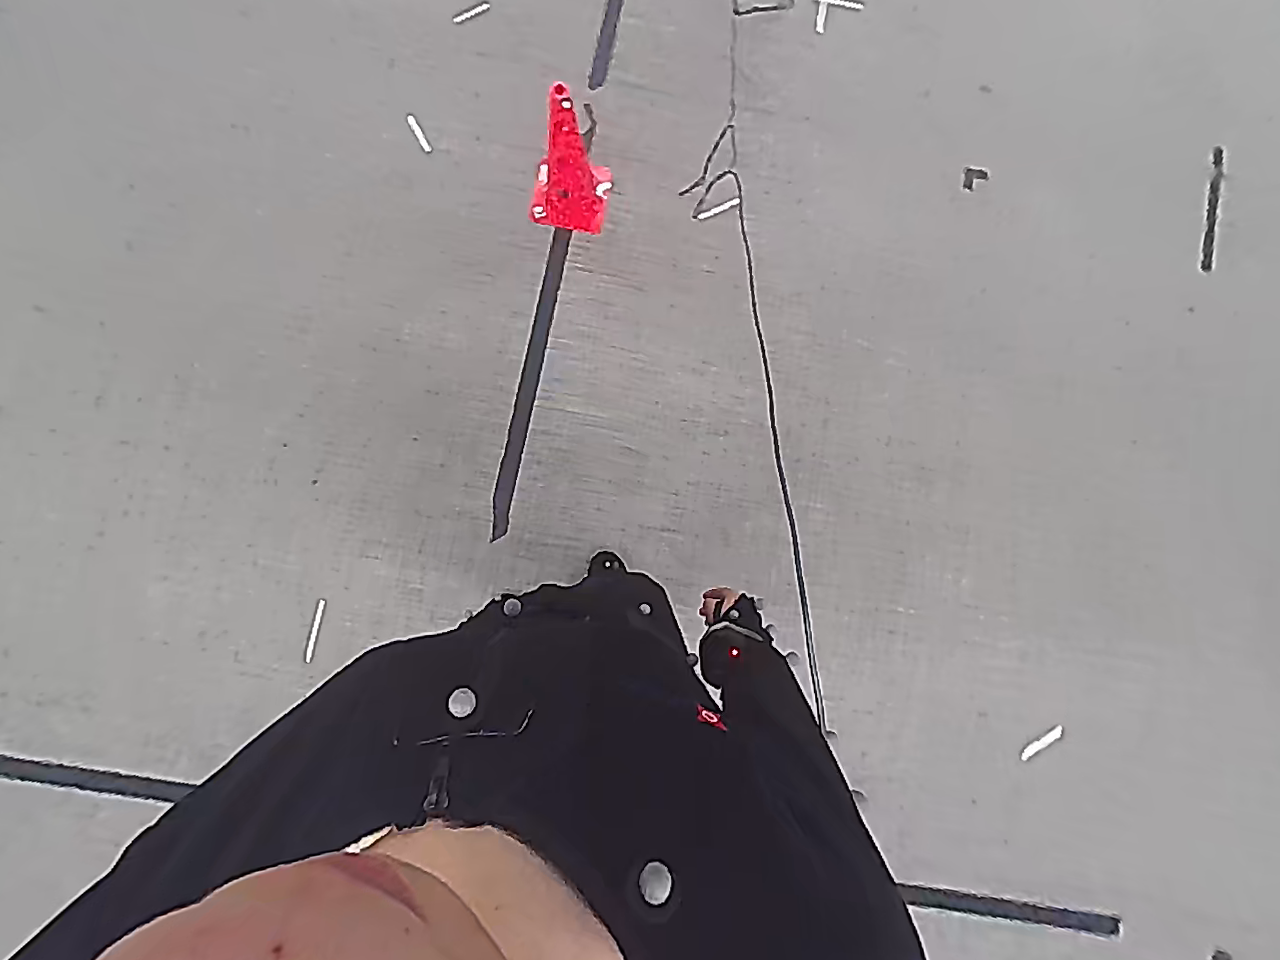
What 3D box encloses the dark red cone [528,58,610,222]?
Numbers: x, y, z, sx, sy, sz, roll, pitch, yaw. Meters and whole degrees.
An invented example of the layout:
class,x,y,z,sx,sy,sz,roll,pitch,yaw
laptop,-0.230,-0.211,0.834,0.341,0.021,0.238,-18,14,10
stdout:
class,x,y,z,sx,sy,sz,roll,pitch,yaw
dark red cone,-0.177,-0.818,1.293,0.201,0.394,0.202,10,83,-3
